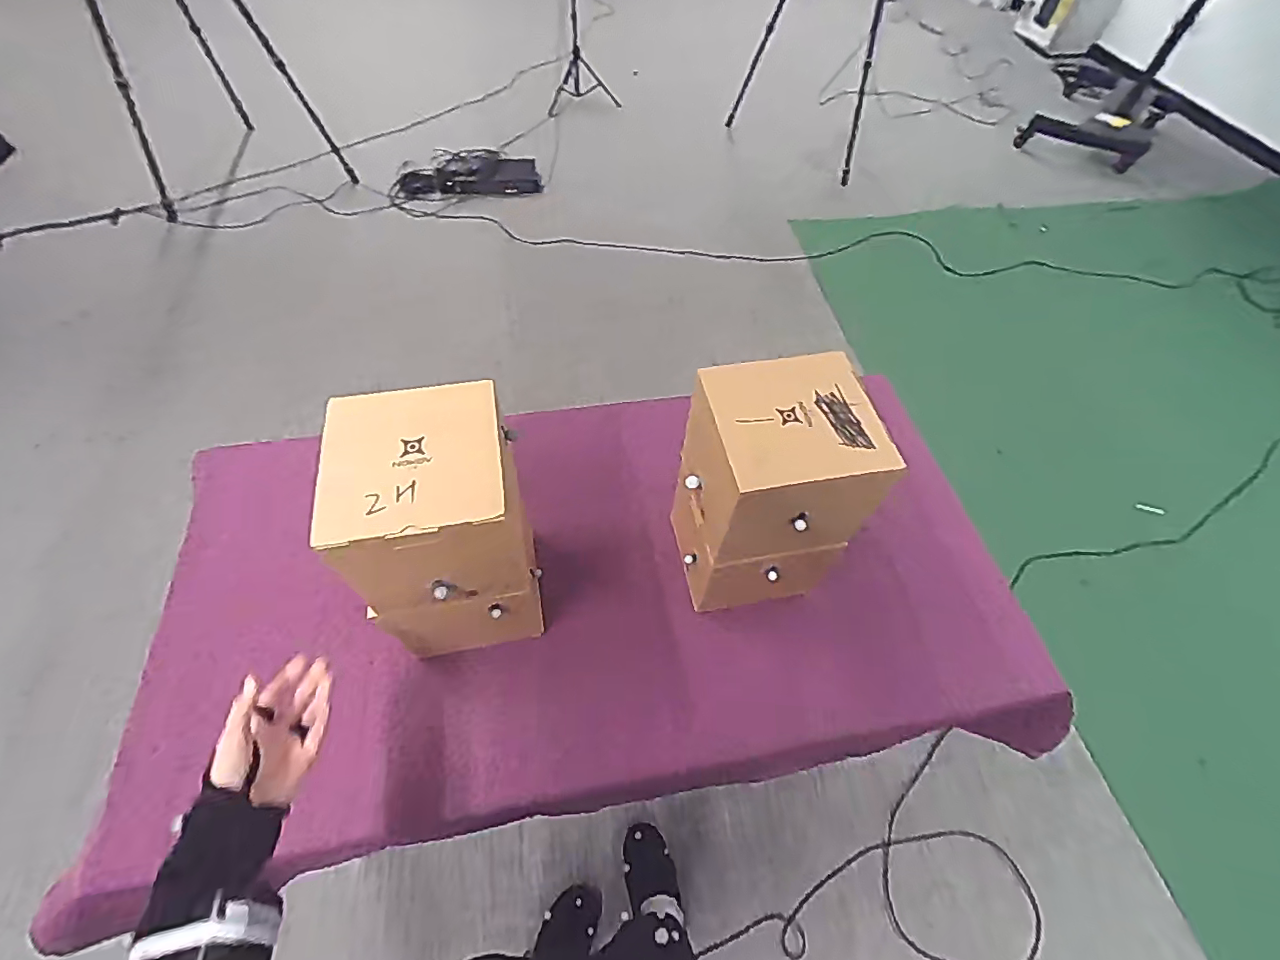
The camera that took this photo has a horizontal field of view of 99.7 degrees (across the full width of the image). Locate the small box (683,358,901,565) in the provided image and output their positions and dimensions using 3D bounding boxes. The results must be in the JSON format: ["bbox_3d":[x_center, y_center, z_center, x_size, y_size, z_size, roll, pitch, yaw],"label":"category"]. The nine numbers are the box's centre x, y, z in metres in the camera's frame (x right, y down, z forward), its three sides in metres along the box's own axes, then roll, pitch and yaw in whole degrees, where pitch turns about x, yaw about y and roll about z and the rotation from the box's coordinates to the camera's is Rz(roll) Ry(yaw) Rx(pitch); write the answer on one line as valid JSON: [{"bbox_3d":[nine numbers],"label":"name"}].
[{"bbox_3d":[0.158,-0.017,0.633,0.179,0.176,0.168,-9,57,-8],"label":"small box"}]

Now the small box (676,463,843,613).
[{"bbox_3d":[0.152,0.076,0.768,0.179,0.176,0.168,-8,57,-8],"label":"small box"}]

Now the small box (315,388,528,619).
[{"bbox_3d":[-0.220,0.027,0.585,0.168,0.176,0.179,-9,56,-9],"label":"small box"}]

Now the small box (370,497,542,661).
[{"bbox_3d":[-0.233,0.125,0.718,0.179,0.176,0.168,-9,56,-9],"label":"small box"}]
